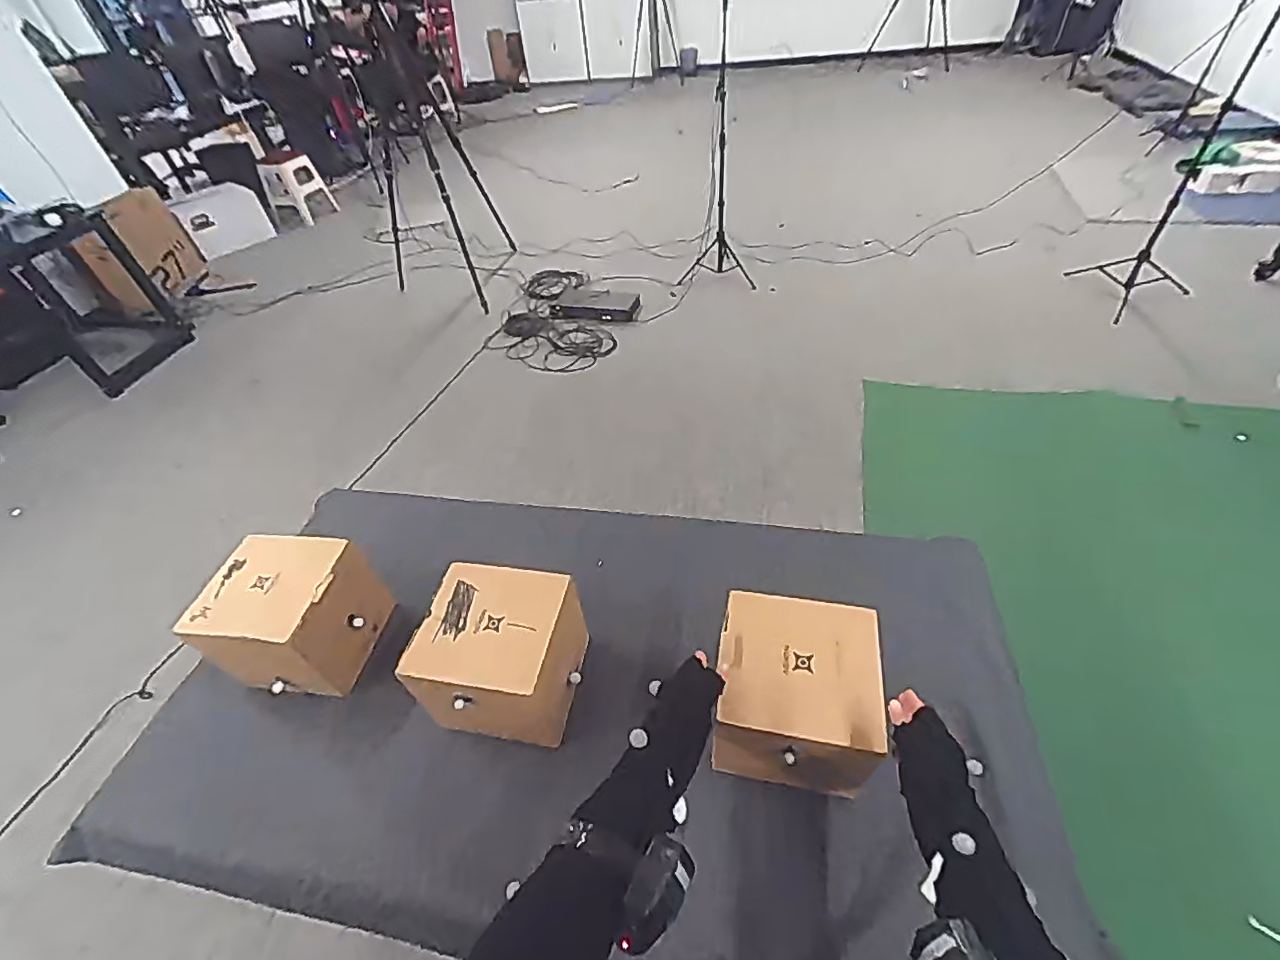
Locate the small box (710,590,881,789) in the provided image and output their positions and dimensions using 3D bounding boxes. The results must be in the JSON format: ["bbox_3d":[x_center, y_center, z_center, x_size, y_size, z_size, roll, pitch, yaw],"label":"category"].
[{"bbox_3d":[0.183,0.260,0.671,0.179,0.176,0.168,6,48,11],"label":"small box"}]

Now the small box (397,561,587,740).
[{"bbox_3d":[-0.184,0.233,0.737,0.179,0.176,0.168,5,47,11],"label":"small box"}]

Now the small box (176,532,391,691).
[{"bbox_3d":[-0.509,0.198,0.808,0.179,0.176,0.168,3,46,8],"label":"small box"}]
